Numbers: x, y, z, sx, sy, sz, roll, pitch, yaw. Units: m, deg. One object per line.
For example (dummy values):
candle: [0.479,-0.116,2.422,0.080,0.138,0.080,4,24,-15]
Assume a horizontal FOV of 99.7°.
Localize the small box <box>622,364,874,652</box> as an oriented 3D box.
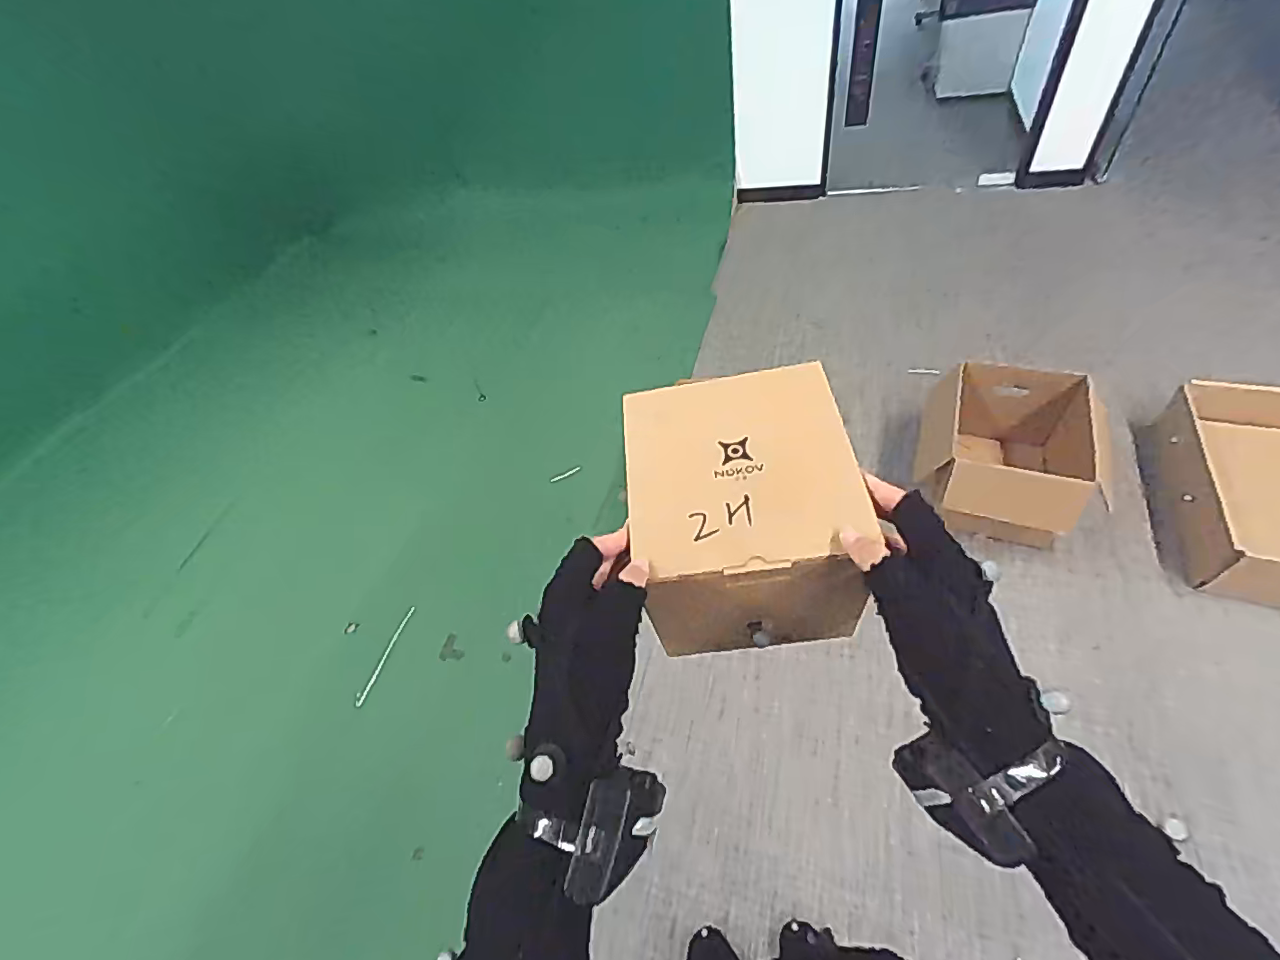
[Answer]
small box: [0.081,0.031,0.468,0.168,0.176,0.179,-9,54,7]
